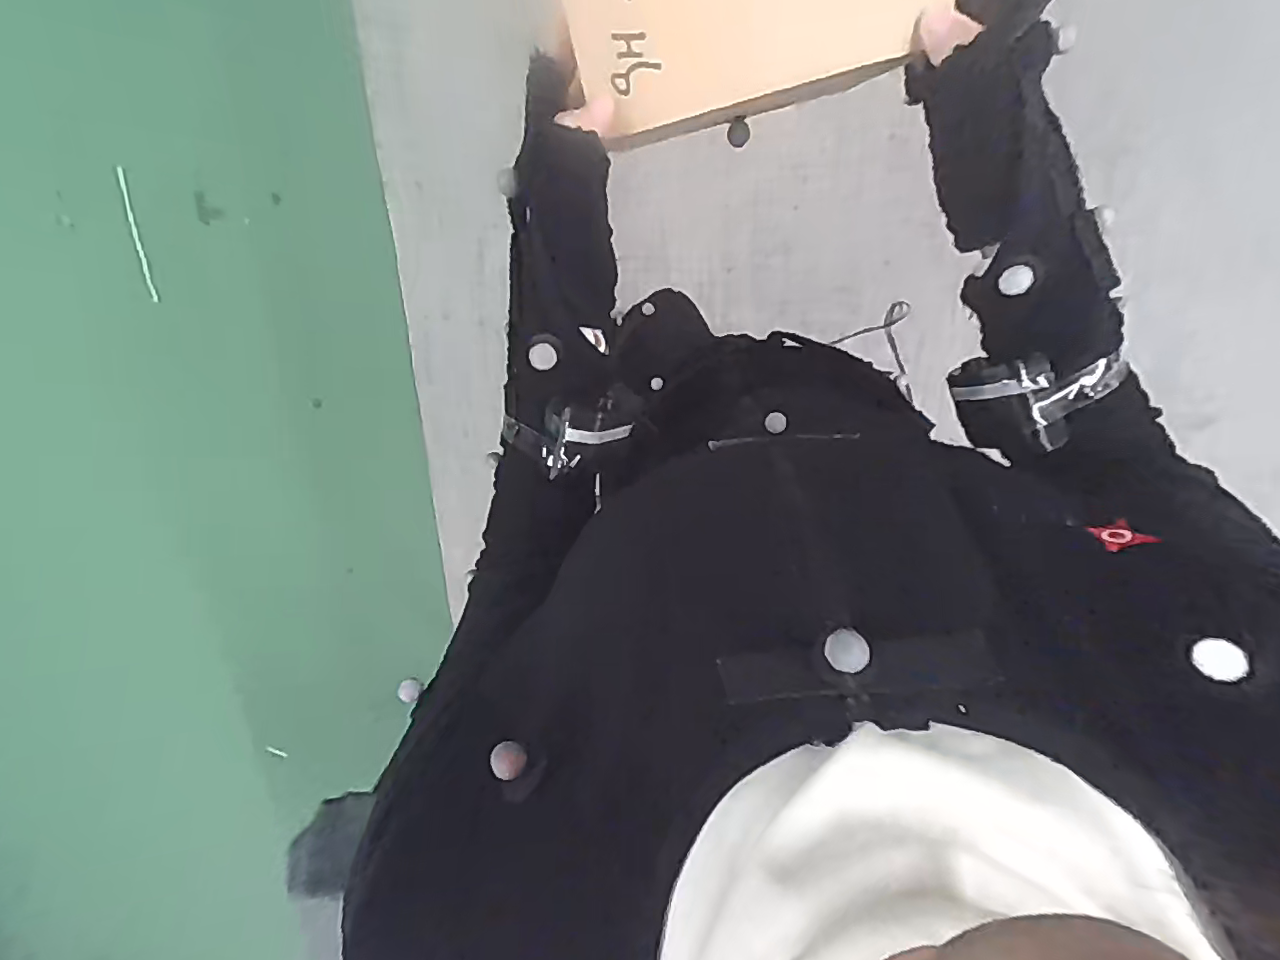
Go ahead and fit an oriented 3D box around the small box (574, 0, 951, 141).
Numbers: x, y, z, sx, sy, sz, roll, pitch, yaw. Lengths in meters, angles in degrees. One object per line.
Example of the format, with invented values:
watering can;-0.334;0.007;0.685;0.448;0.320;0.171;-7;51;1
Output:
small box;0.048;-0.305;0.300;0.179;0.176;0.168;-10;117;7
